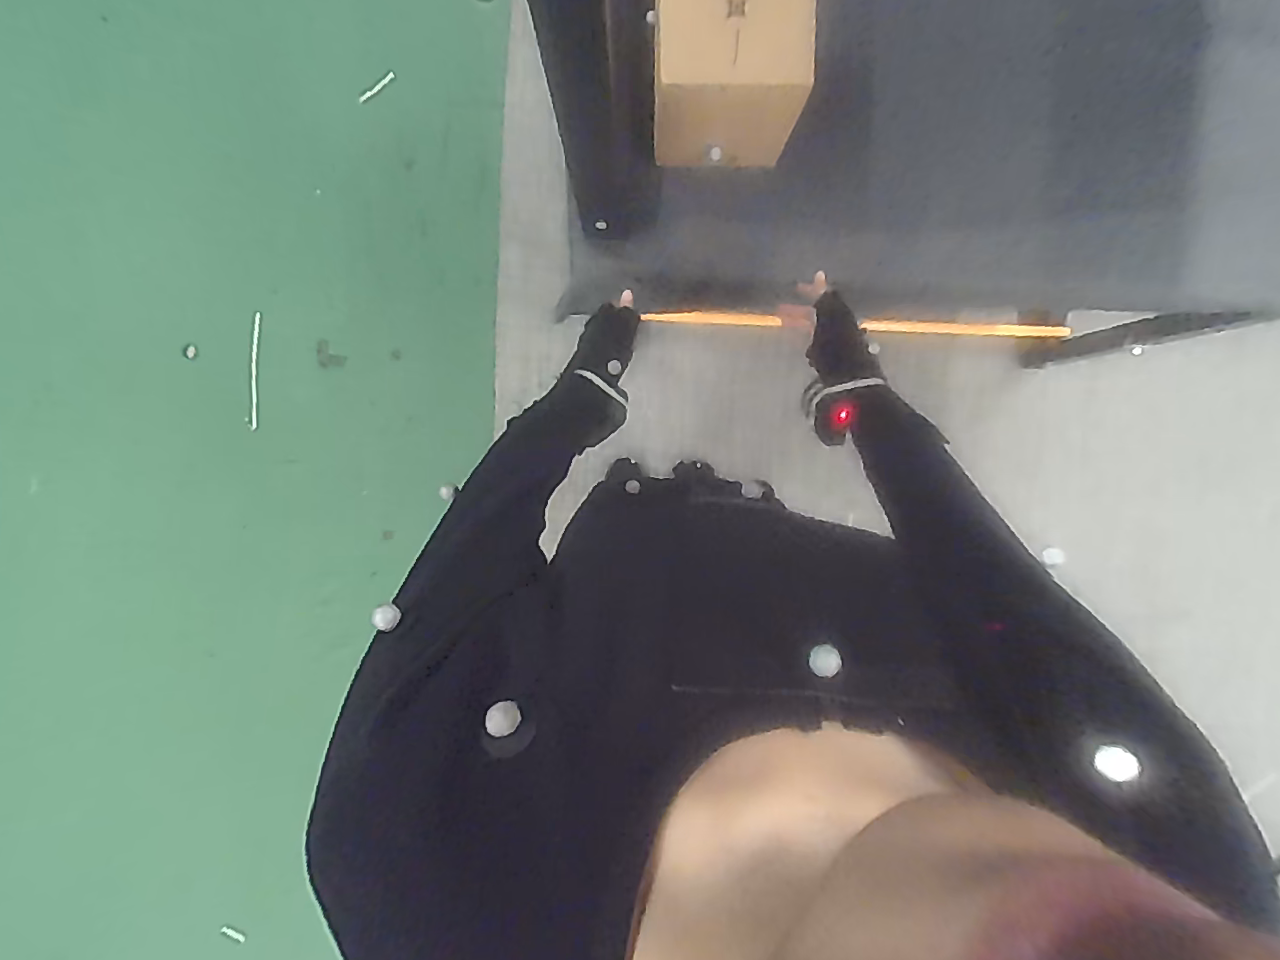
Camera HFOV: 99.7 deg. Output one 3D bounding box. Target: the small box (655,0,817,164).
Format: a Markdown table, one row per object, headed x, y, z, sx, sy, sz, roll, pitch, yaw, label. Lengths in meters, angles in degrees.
| x | y | z | sx | sy | sz | roll | pitch | yaw | label |
| --- | --- | --- | --- | --- | --- | --- | --- | --- | --- |
| 0.102 | -0.510 | 0.643 | 0.168 | 0.176 | 0.179 | -1 | 93 | 0 | small box |
